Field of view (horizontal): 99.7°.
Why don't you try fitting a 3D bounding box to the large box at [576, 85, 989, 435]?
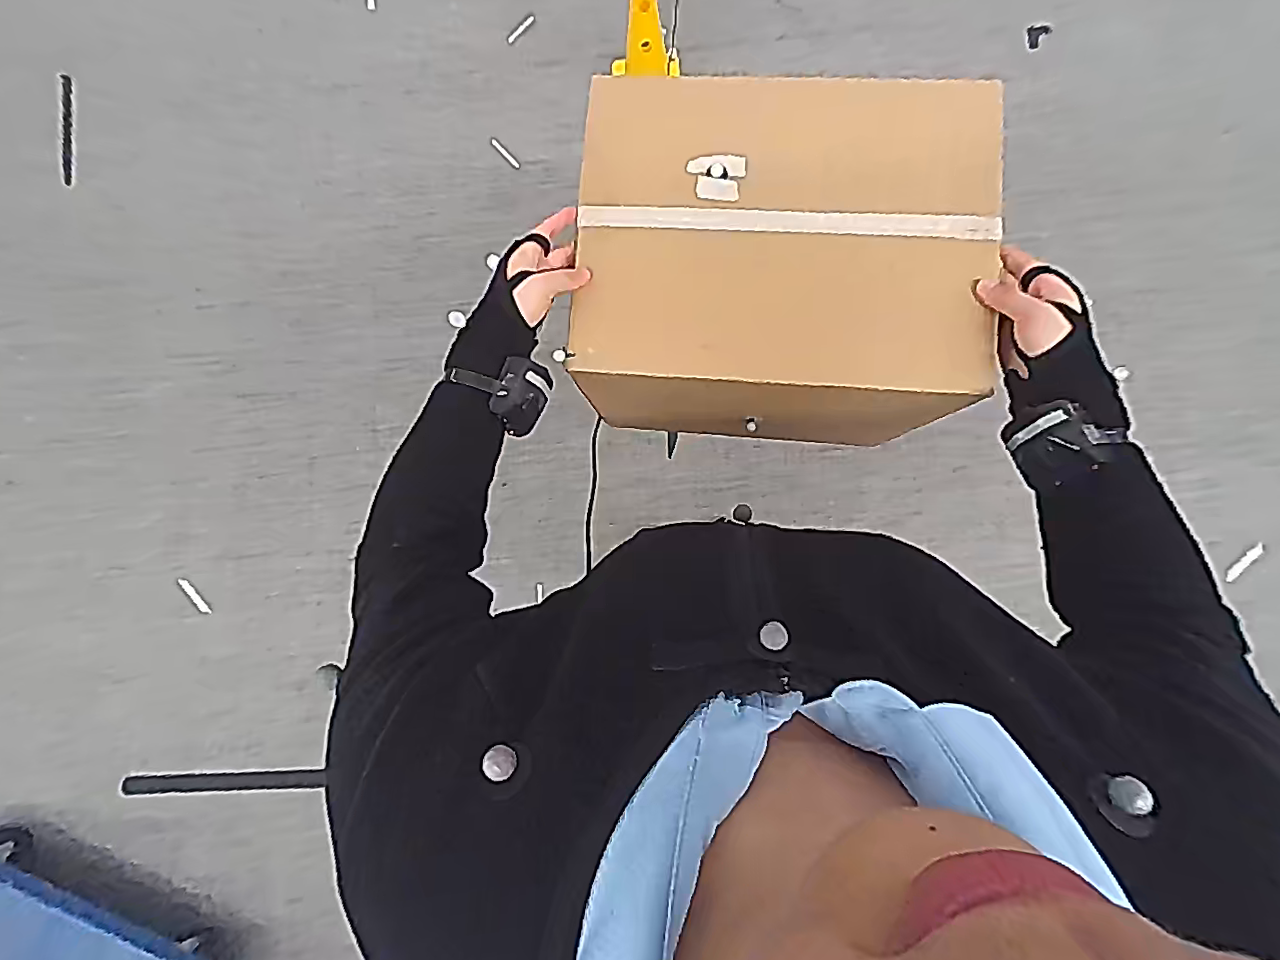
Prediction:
[{"bbox_3d":[0.155,-0.237,0.689,0.408,0.320,0.320,3,84,5],"label":"large box"}]
